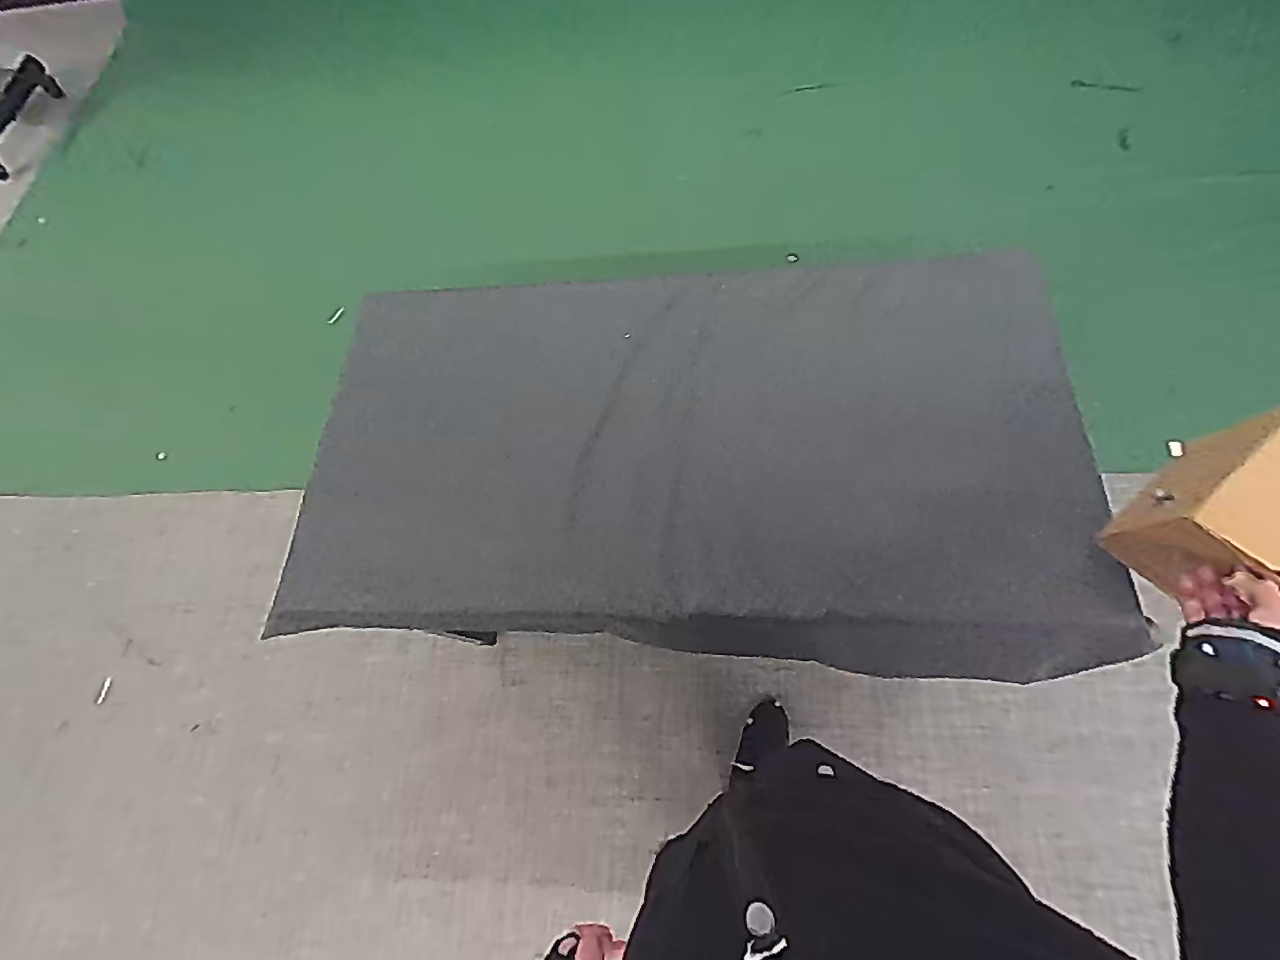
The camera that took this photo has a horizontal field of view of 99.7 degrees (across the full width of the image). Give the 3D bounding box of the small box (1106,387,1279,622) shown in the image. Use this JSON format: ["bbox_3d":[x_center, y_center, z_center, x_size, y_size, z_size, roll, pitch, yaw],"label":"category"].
[{"bbox_3d":[0.651,0.035,0.567,0.168,0.176,0.179,43,88,18],"label":"small box"}]
